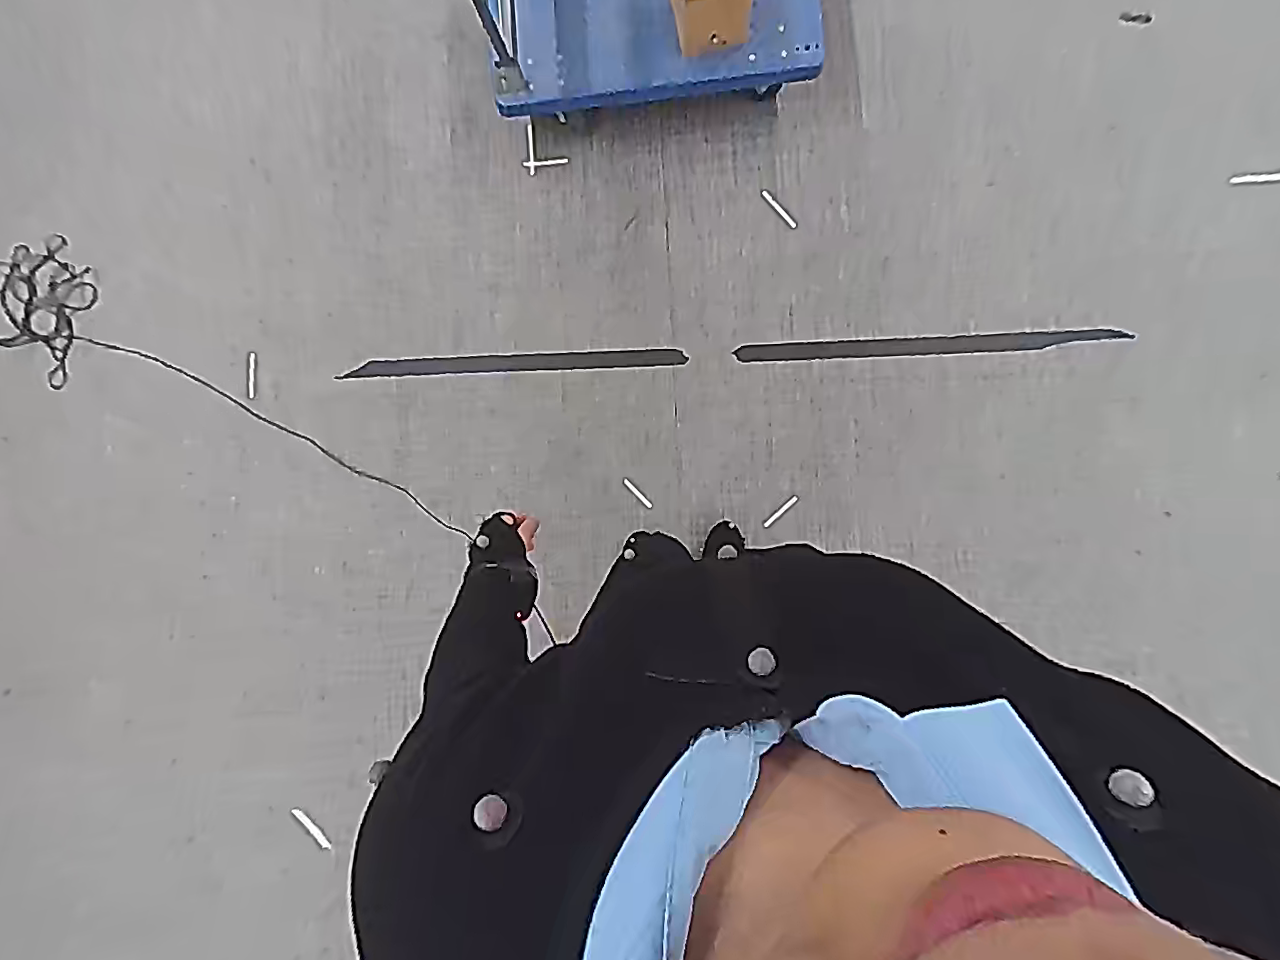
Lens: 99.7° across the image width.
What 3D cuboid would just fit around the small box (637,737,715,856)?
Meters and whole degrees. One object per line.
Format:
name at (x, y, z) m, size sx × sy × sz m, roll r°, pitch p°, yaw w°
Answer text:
small box at (0.082, 0.704, 1.218) m, size 0.168 × 0.176 × 0.179 m, roll -2°, pitch 86°, yaw 4°
